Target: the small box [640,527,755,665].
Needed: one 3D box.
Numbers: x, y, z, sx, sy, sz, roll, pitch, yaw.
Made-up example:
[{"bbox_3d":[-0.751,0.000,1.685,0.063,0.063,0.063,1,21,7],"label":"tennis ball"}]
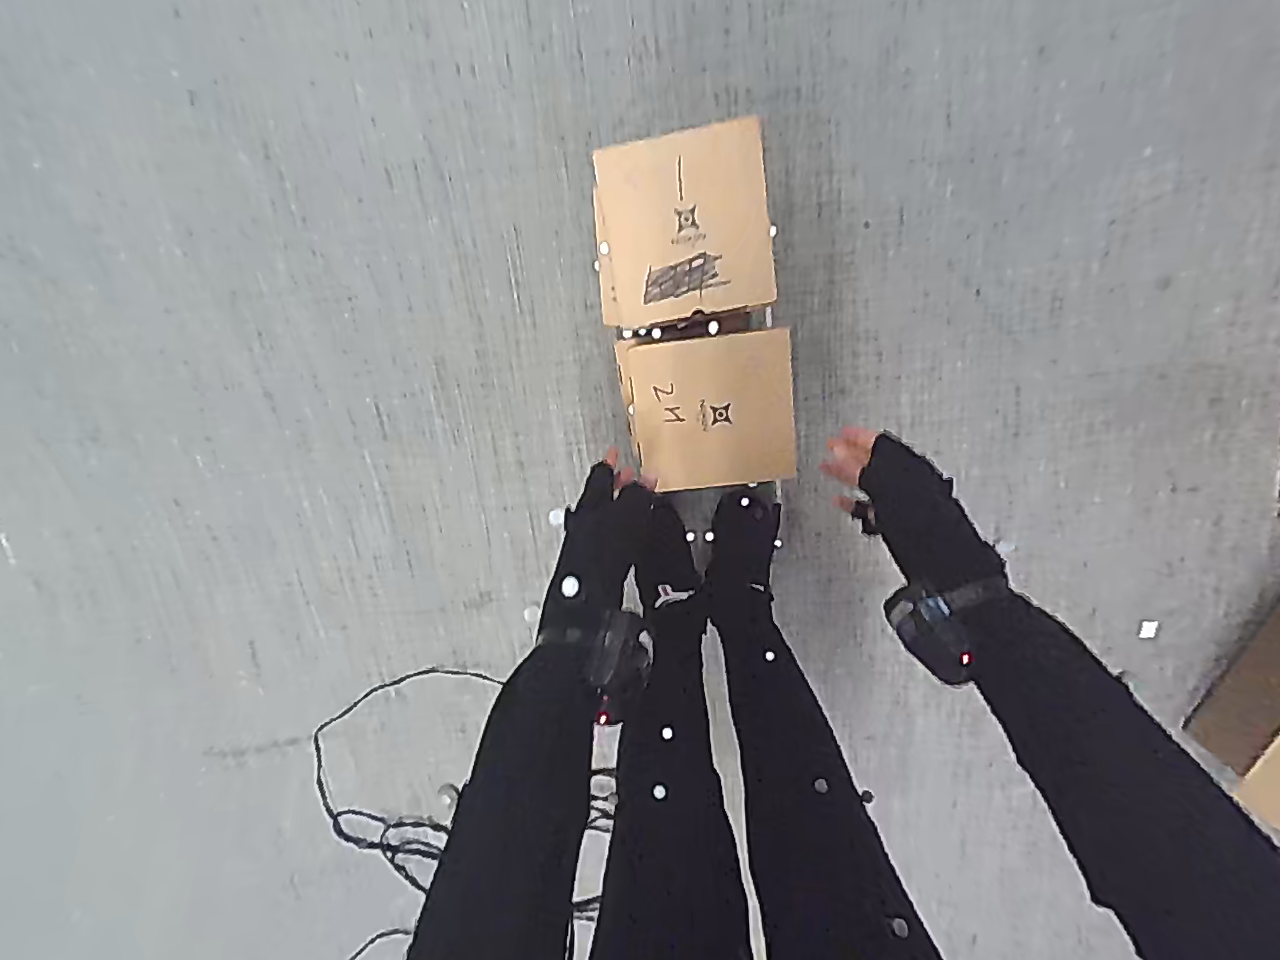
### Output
[{"bbox_3d":[0.092,0.198,0.950,0.168,0.176,0.179,-2,110,-7],"label":"small box"}]
